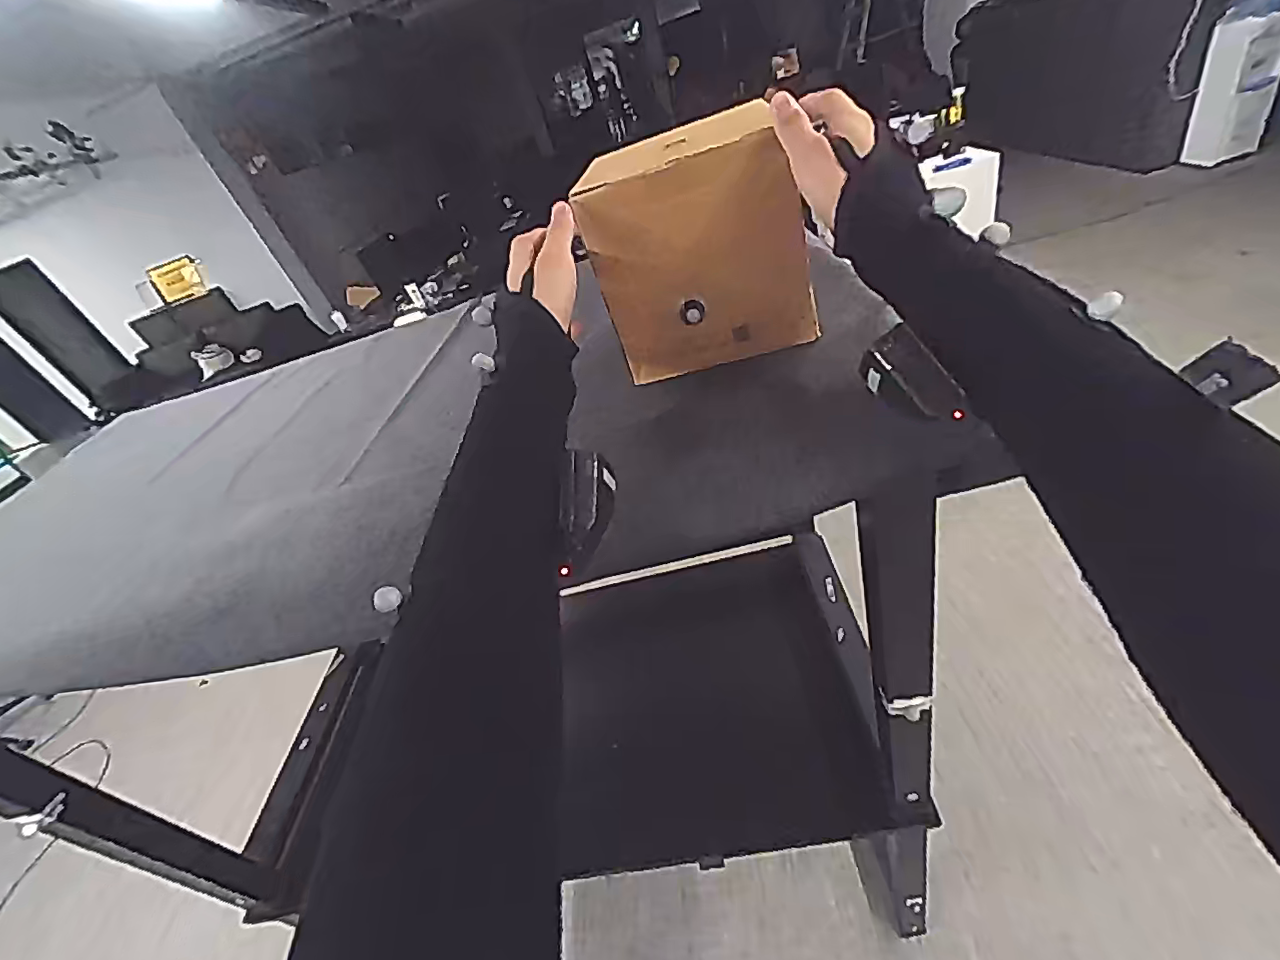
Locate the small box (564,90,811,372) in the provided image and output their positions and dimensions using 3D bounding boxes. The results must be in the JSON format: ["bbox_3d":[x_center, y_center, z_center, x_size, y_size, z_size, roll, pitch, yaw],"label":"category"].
[{"bbox_3d":[0.050,-0.221,0.487,0.168,0.176,0.179,-12,37,13],"label":"small box"}]
